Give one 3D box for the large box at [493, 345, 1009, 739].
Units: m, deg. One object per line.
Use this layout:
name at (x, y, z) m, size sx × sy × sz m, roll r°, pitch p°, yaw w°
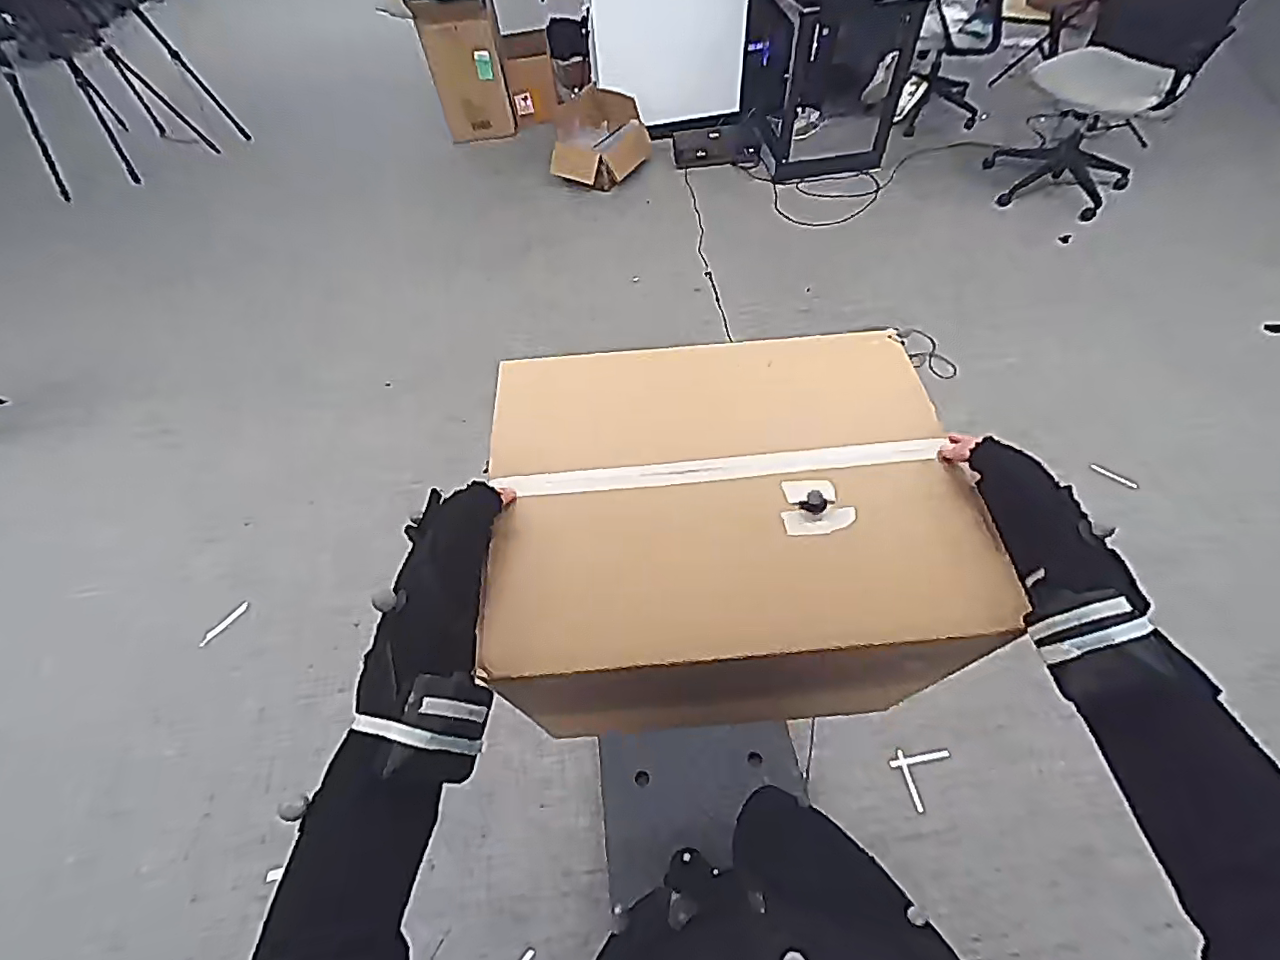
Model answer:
large box at (0.076, 0.083, 0.610) m, size 0.408 × 0.320 × 0.320 m, roll -5°, pitch 57°, yaw -1°
